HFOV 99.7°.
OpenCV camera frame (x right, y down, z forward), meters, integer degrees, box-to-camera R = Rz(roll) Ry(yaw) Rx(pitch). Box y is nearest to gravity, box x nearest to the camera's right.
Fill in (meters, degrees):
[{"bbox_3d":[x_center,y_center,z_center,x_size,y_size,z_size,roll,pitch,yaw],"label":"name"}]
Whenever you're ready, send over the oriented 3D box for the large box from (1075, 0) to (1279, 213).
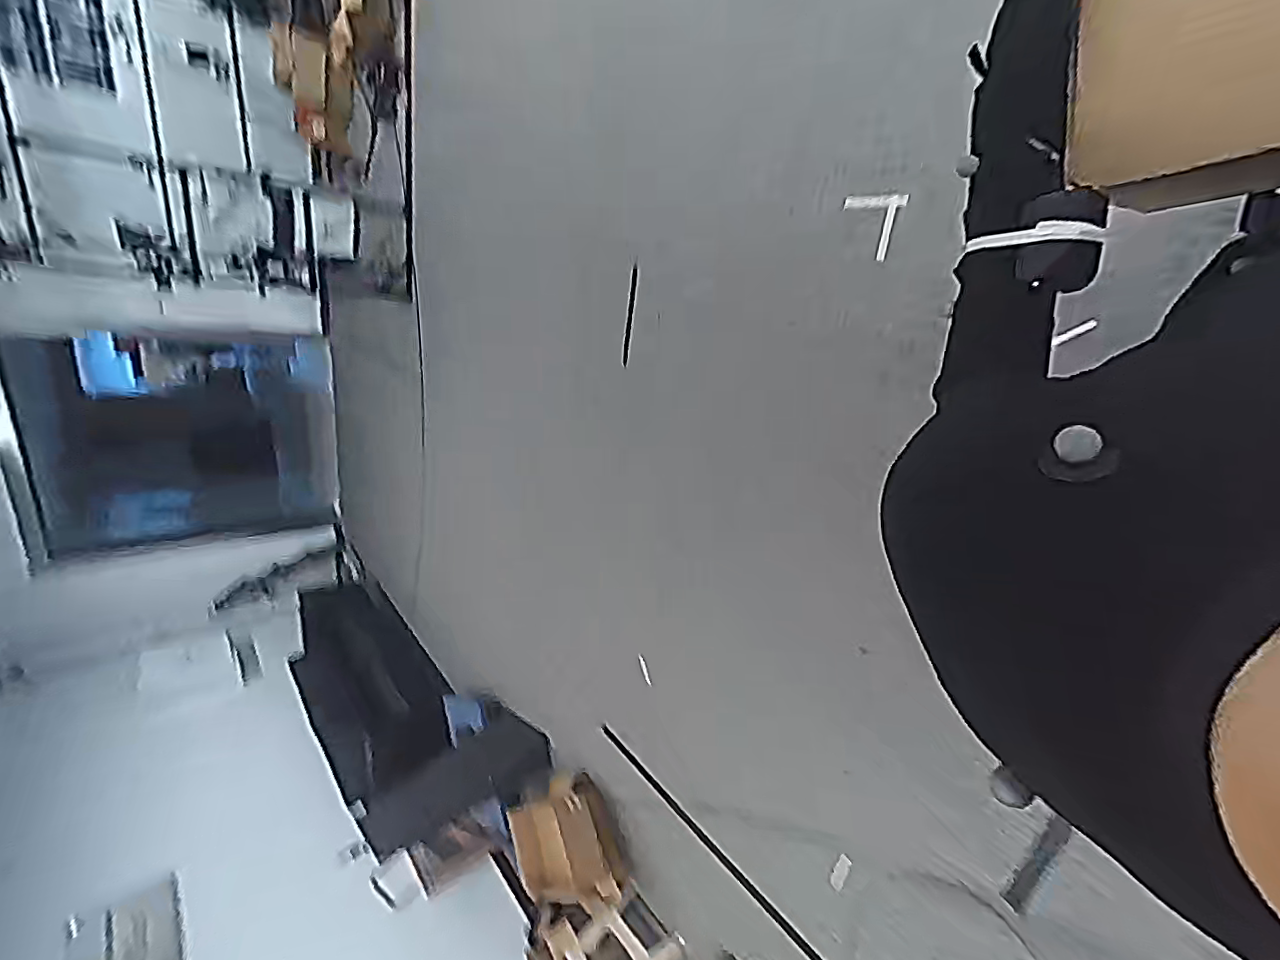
[{"bbox_3d":[0.555,-0.390,0.331,0.408,0.320,0.320,8,112,48],"label":"large box"}]
